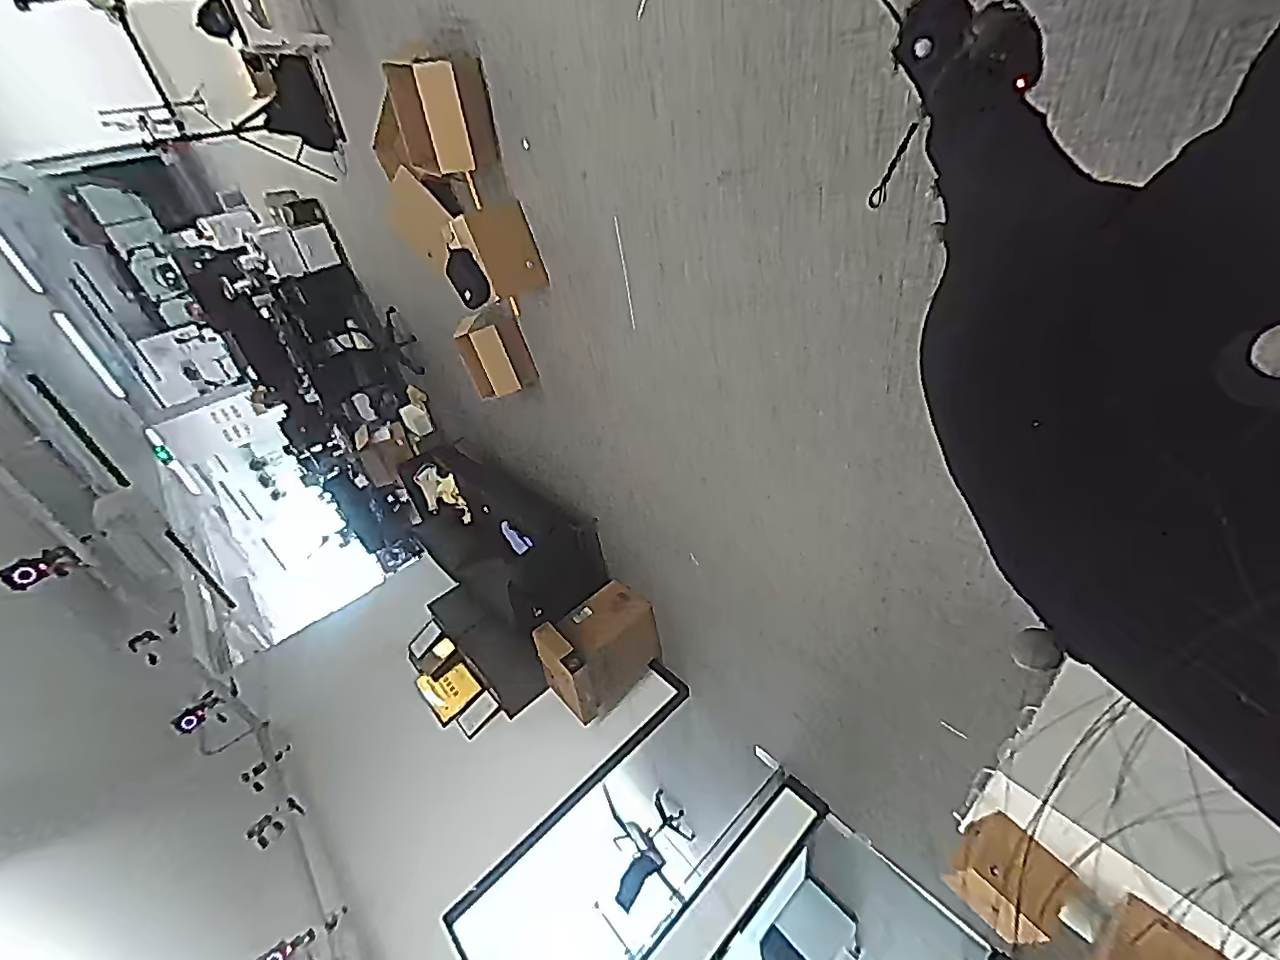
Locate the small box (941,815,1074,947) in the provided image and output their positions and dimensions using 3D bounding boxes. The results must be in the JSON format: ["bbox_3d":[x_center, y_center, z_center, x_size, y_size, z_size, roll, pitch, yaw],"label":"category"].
[{"bbox_3d":[0.856,0.932,1.262,0.179,0.176,0.168,39,146,29],"label":"small box"}]
